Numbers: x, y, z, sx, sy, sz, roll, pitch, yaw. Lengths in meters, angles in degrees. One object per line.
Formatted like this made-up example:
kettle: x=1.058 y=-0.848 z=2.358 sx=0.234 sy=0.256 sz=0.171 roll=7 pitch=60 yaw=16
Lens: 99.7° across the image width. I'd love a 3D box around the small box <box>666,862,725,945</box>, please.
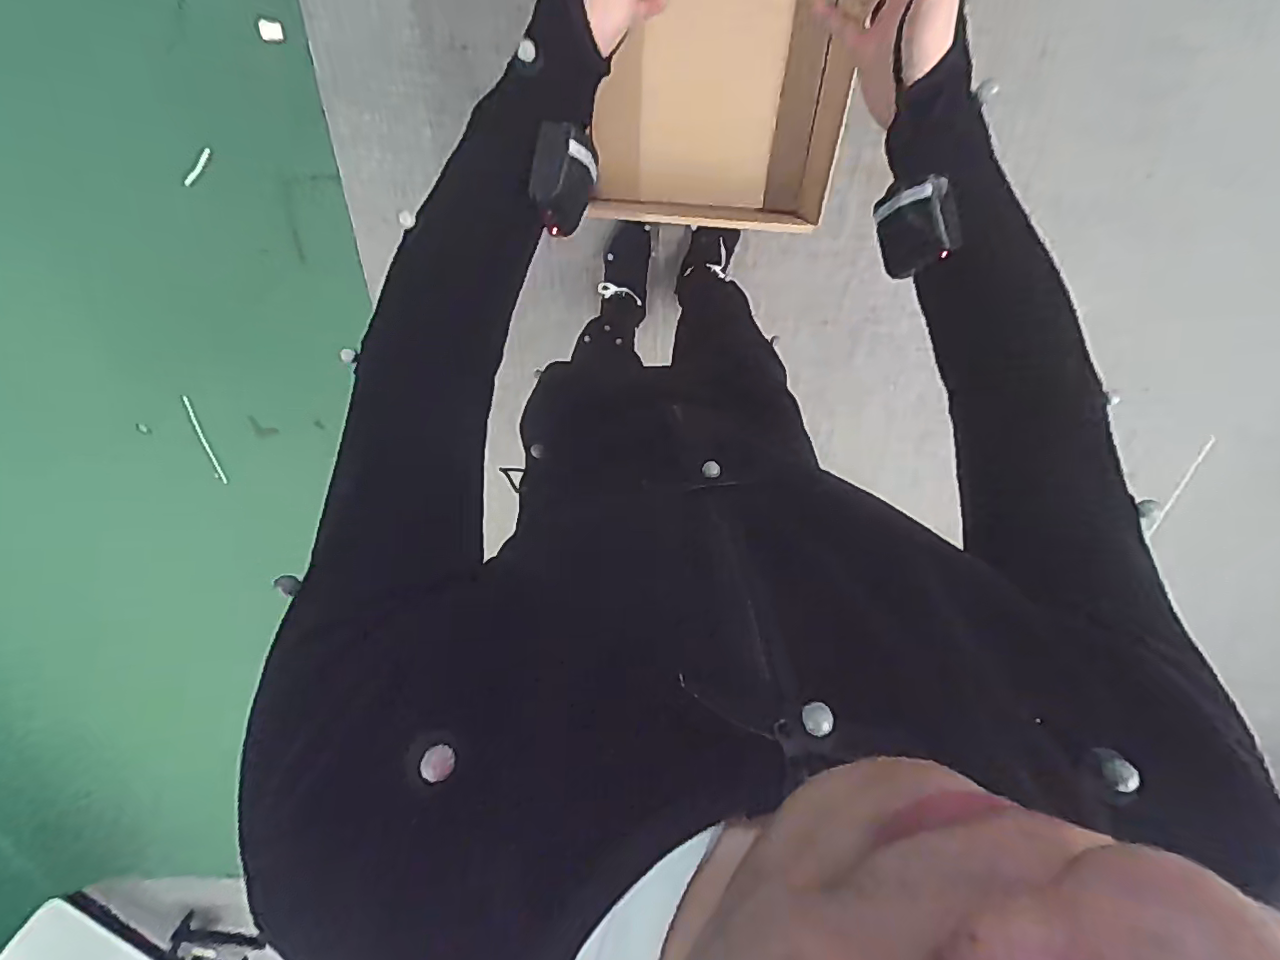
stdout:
small box: x=0.172 y=1.338 z=1.713 sx=0.179 sy=0.176 sz=0.168 roll=-4 pitch=125 yaw=3
